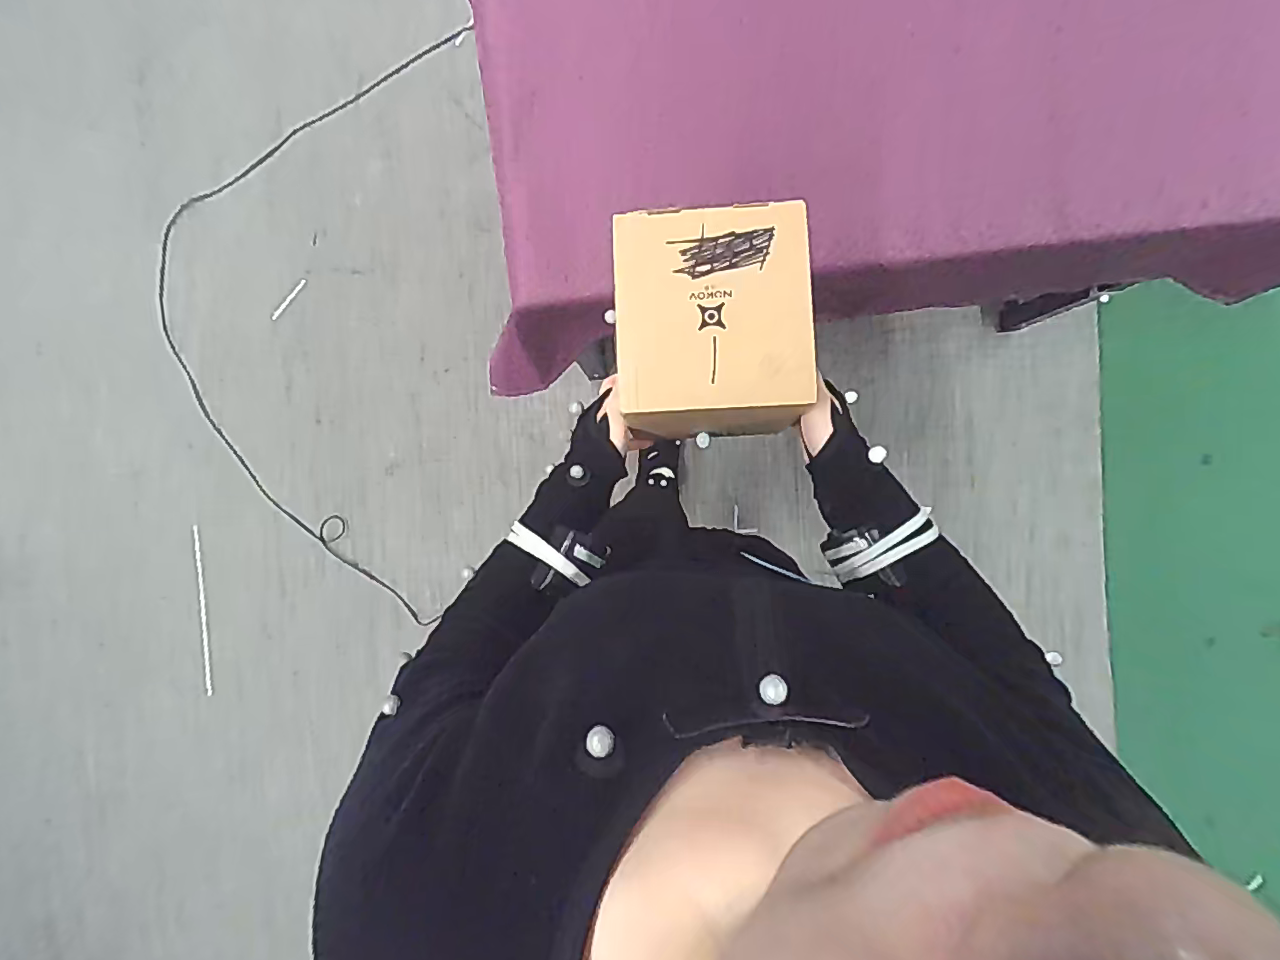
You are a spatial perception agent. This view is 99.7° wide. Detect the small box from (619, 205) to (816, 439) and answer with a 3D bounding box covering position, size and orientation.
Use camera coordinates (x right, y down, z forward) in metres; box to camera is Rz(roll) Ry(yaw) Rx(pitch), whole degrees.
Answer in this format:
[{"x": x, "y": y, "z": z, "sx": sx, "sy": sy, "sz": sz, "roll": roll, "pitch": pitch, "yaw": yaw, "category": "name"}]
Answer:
[{"x": 0.068, "y": -0.140, "z": 0.536, "sx": 0.168, "sy": 0.176, "sz": 0.179, "roll": -2, "pitch": 87, "yaw": 4, "category": "small box"}]
